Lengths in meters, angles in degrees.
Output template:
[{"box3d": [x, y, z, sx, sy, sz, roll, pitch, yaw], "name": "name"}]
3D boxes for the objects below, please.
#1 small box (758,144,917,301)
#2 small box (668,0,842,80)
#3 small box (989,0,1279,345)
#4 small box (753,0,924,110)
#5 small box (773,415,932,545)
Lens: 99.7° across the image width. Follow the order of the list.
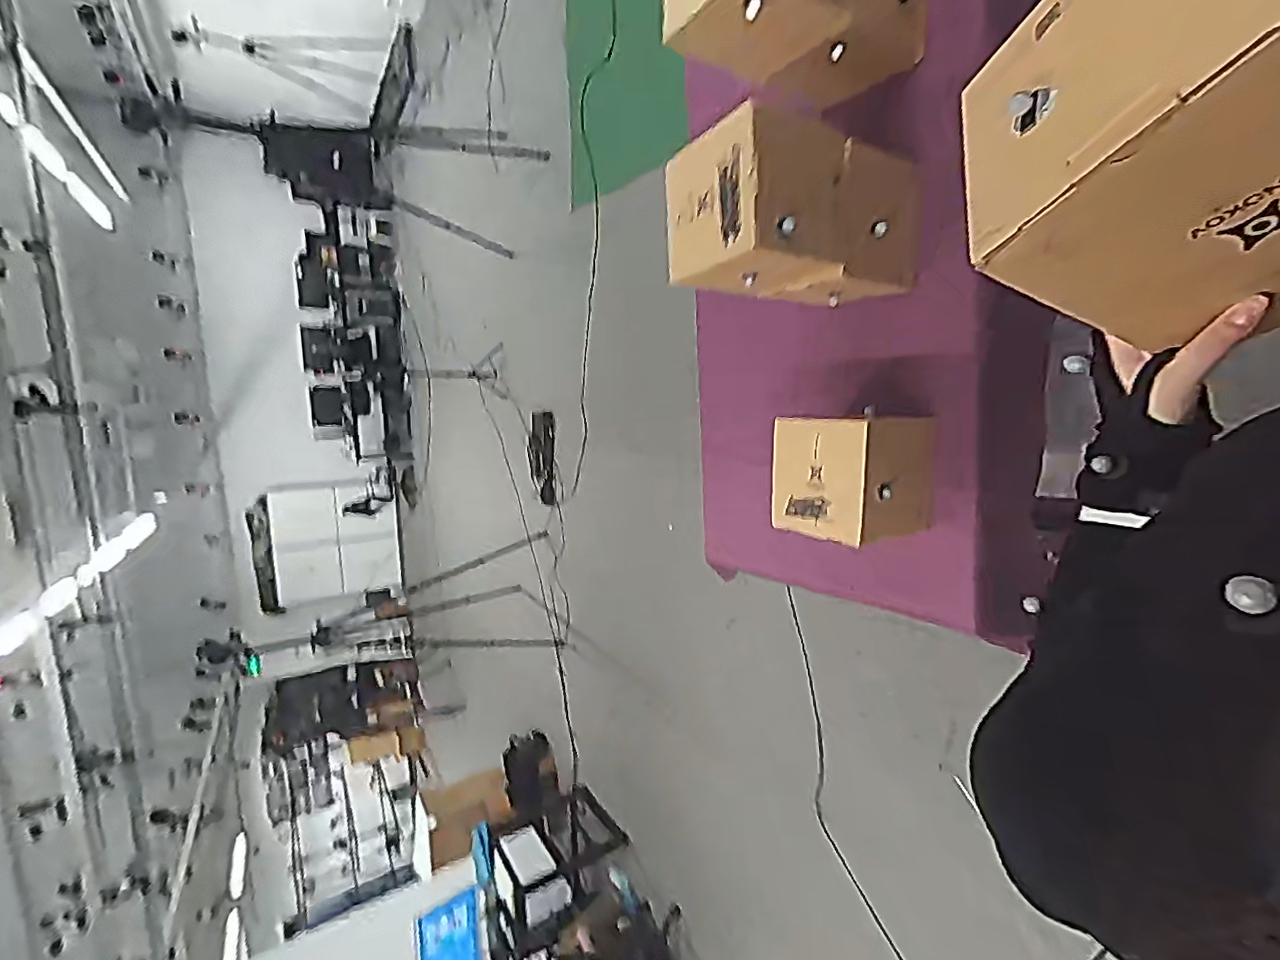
[{"box3d": [0.300, -0.376, 0.829, 0.168, 0.176, 0.179, 12, 106, 55], "name": "small box"}, {"box3d": [0.153, -0.672, 0.705, 0.179, 0.176, 0.168, 12, 104, 56], "name": "small box"}, {"box3d": [0.321, -0.211, 0.291, 0.168, 0.179, 0.176, 137, 148, -64], "name": "small box"}, {"box3d": [0.290, -0.685, 0.796, 0.179, 0.176, 0.168, 14, 107, 55], "name": "small box"}, {"box3d": [0.329, -0.011, 0.842, 0.168, 0.176, 0.179, 12, 104, 56], "name": "small box"}]
